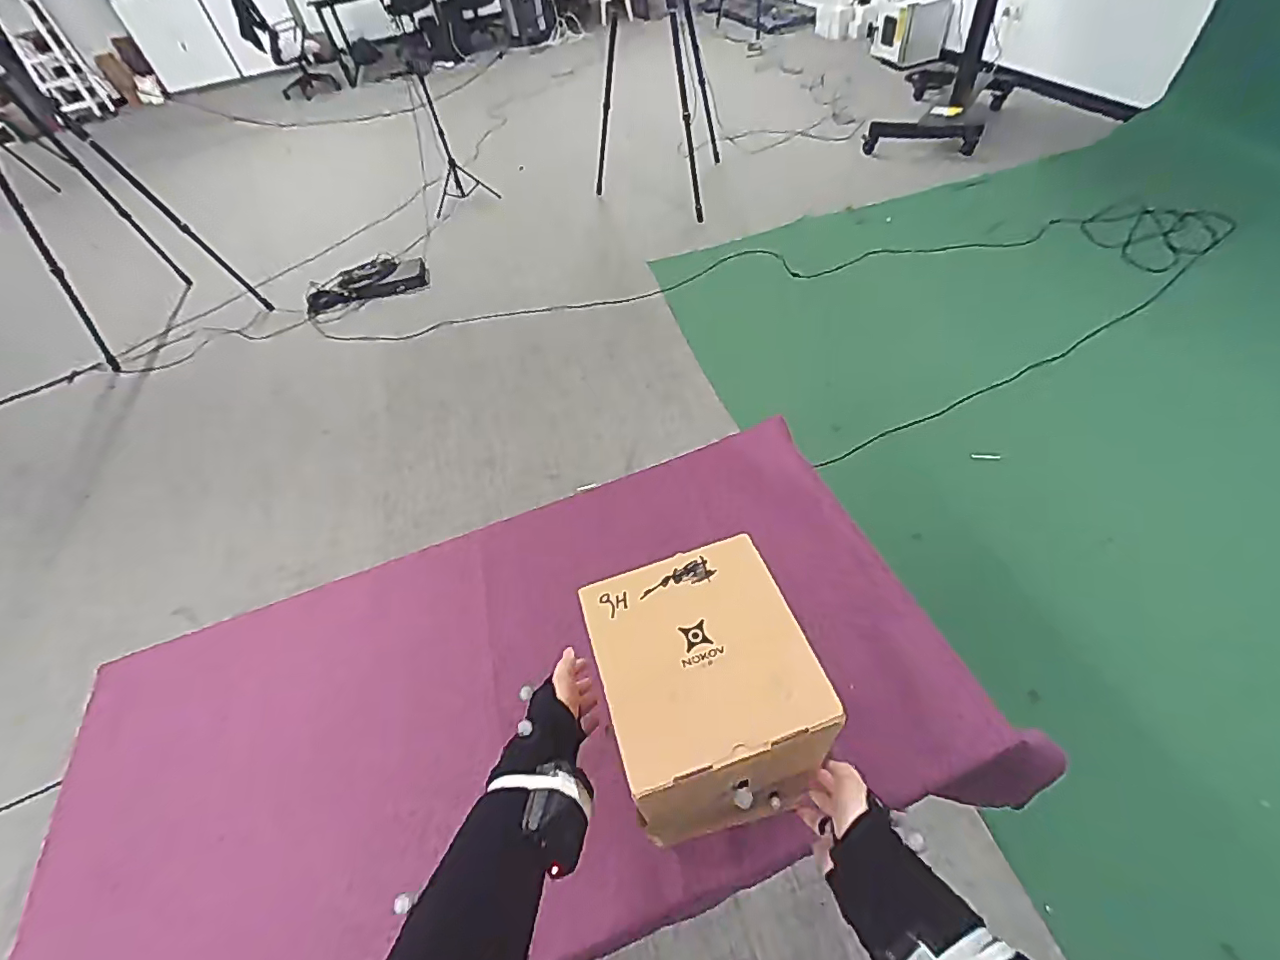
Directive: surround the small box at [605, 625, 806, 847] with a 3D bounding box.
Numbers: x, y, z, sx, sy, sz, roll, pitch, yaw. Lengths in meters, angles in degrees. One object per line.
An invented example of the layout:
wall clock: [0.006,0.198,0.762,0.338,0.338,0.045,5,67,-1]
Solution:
small box: [0.071,0.298,0.621,0.179,0.176,0.168,-15,49,-3]
